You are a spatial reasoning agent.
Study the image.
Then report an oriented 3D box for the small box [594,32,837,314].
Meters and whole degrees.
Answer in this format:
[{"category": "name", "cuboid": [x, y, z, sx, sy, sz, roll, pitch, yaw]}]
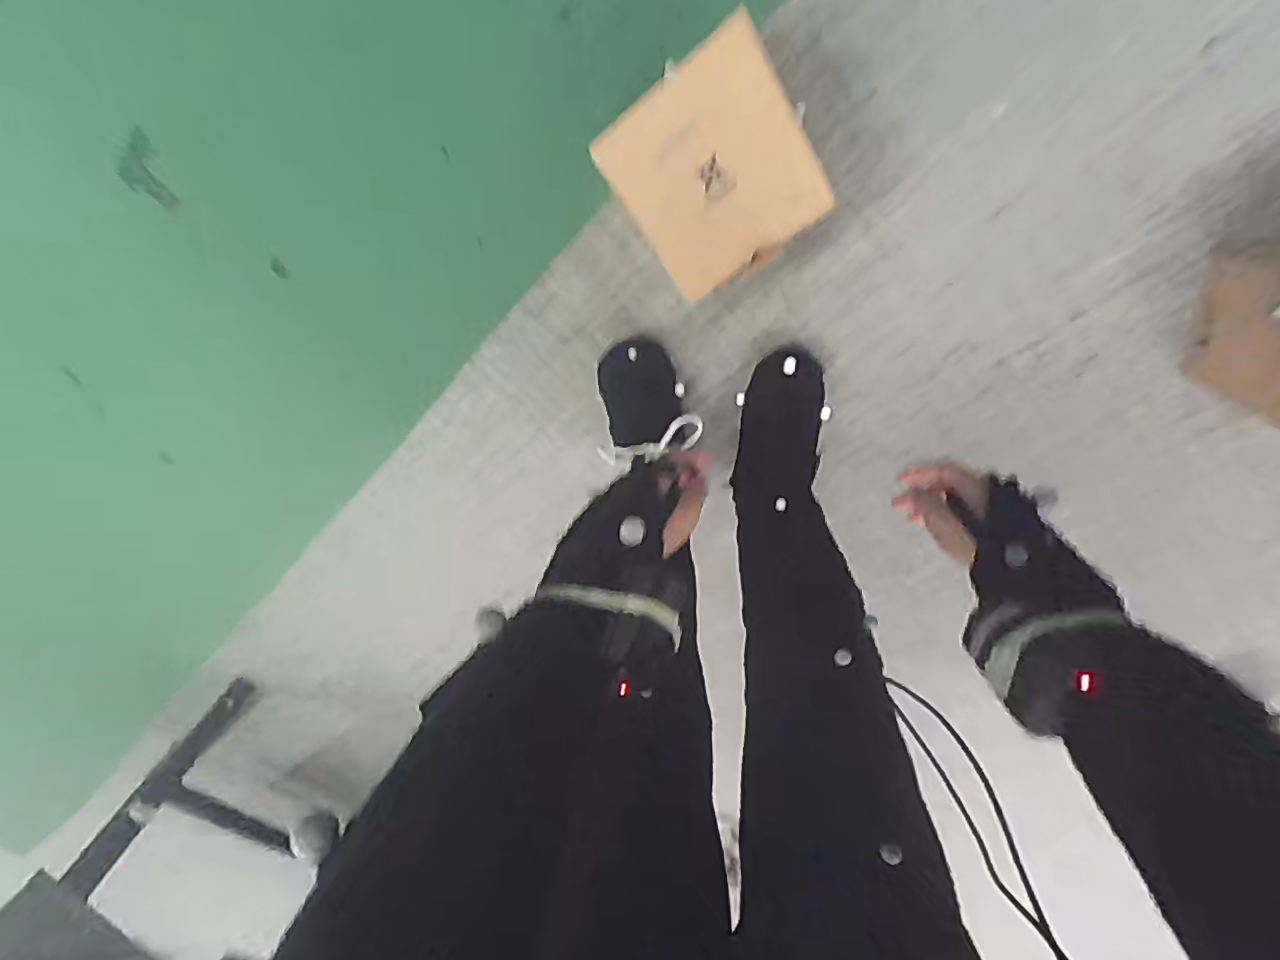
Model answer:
[{"category": "small box", "cuboid": [0.080, -0.312, 0.565, 0.168, 0.176, 0.179, -30, 114, 23]}]
